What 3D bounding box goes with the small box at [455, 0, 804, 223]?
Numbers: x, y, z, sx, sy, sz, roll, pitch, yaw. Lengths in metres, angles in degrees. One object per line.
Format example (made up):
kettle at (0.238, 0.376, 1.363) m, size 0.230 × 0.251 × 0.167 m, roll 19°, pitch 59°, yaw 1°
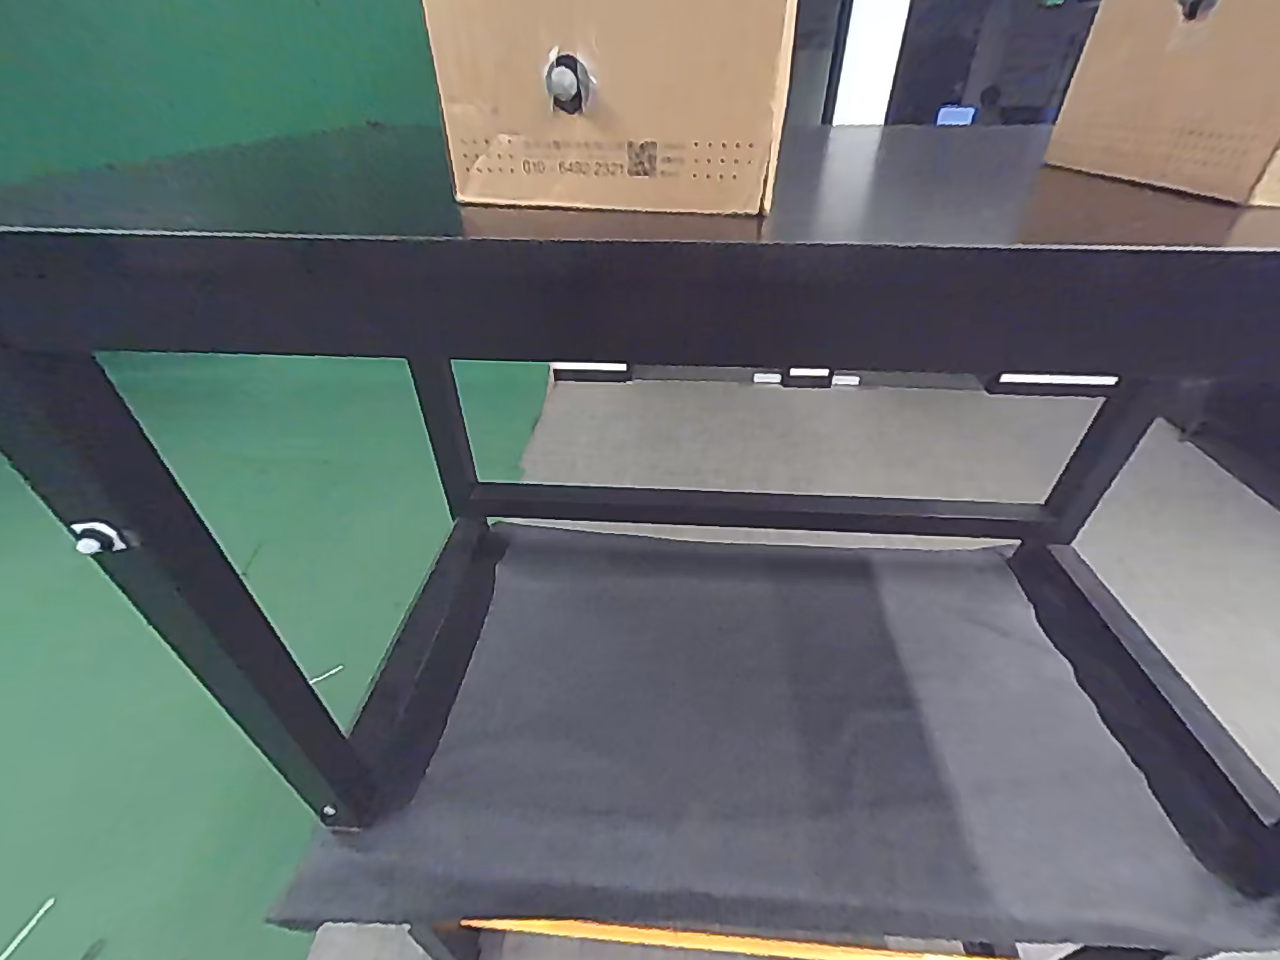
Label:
small box at (0.005, -0.255, 0.301) m, size 0.168 × 0.176 × 0.179 m, roll 8°, pitch 38°, yaw 10°
